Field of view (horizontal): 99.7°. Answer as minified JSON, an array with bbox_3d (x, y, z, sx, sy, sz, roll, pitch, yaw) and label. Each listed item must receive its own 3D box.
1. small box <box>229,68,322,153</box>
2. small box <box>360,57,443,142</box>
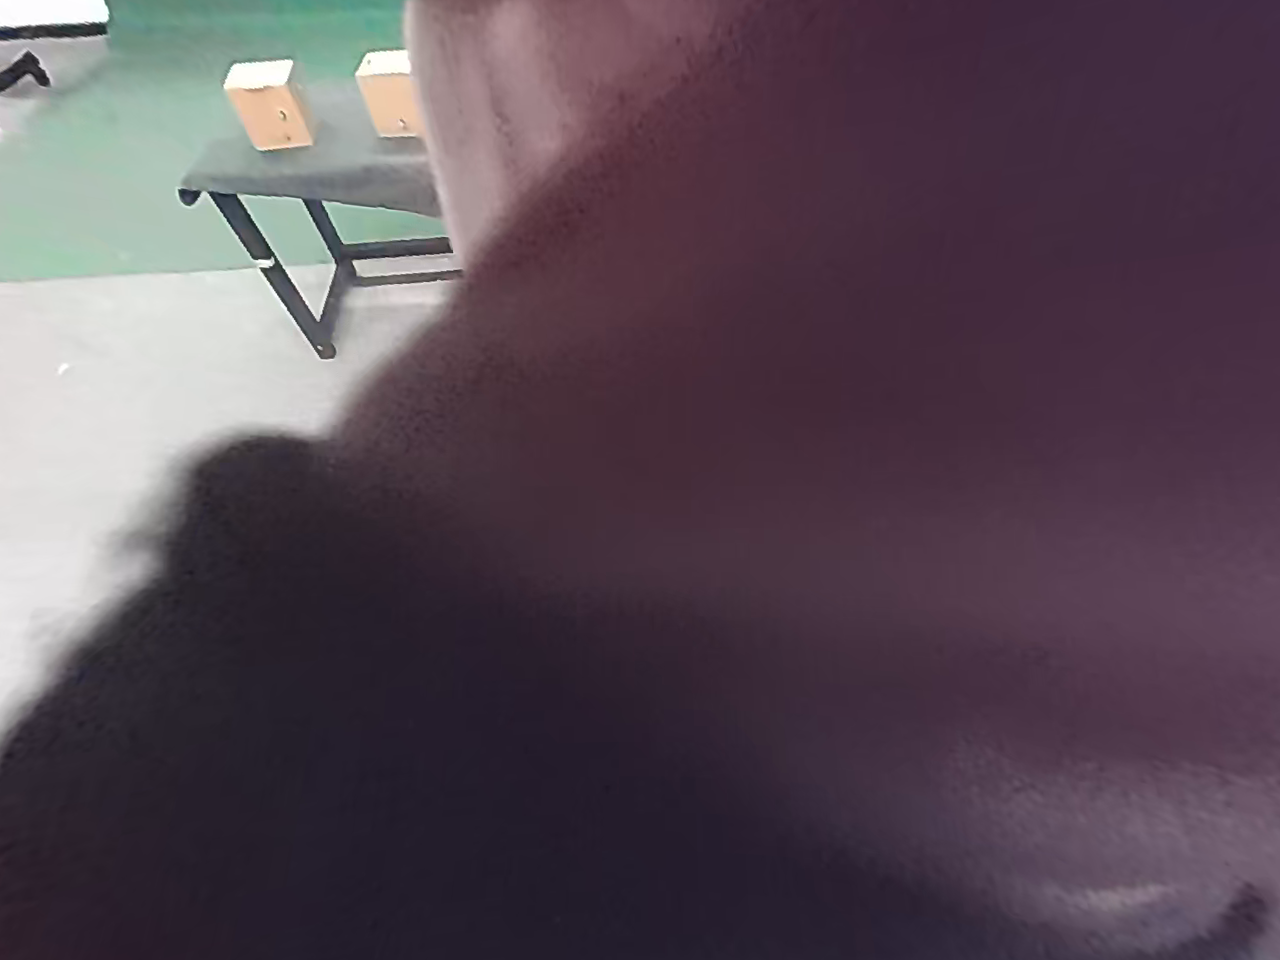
[{"bbox_3d":[-1.087,-1.107,1.629,0.168,0.176,0.179,-11,54,-9],"label":"small box"},{"bbox_3d":[-0.724,-1.167,1.663,0.179,0.176,0.168,-3,56,-2],"label":"small box"}]
